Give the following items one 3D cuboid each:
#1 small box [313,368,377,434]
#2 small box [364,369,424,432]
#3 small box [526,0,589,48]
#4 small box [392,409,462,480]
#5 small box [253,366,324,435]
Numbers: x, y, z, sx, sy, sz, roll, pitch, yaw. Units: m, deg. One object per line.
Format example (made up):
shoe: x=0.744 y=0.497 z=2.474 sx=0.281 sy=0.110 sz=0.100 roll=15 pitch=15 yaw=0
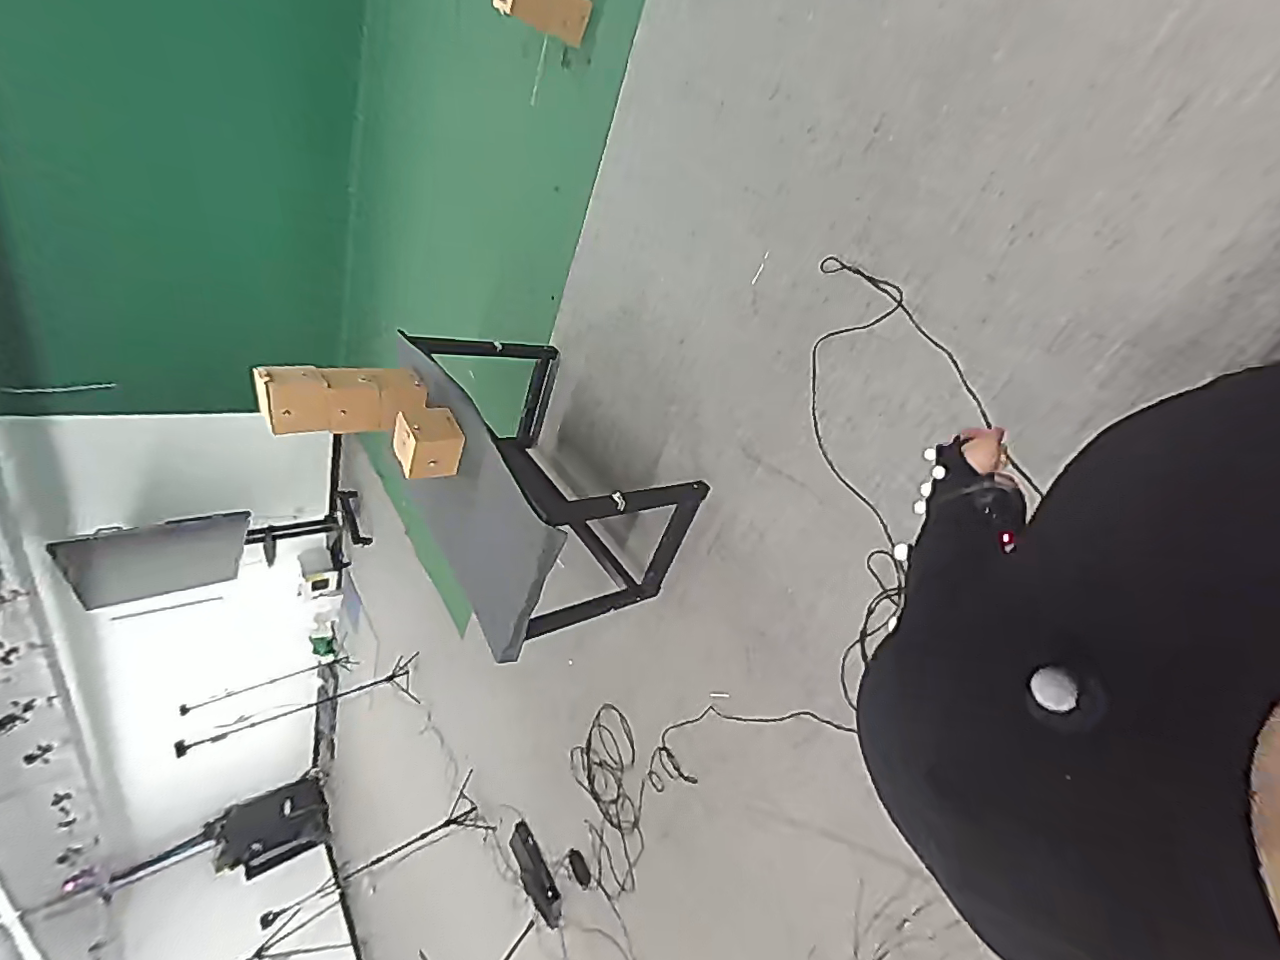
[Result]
small box: x=-1.040 y=-0.282 z=1.906 sx=0.168 sy=0.176 sz=0.179 roll=40 pitch=124 yaw=34
small box: x=-0.923 y=-0.300 z=2.016 sx=0.168 sy=0.176 sz=0.179 roll=44 pitch=129 yaw=33
small box: x=-0.336 y=-1.929 z=2.228 sx=0.179 sy=0.176 sz=0.168 roll=52 pitch=129 yaw=29
small box: x=-0.720 y=-0.123 z=1.827 sx=0.168 sy=0.176 sz=0.179 roll=52 pitch=132 yaw=28
small box: x=-1.160 y=-0.267 z=1.792 sx=0.168 sy=0.176 sz=0.179 roll=36 pitch=123 yaw=35
